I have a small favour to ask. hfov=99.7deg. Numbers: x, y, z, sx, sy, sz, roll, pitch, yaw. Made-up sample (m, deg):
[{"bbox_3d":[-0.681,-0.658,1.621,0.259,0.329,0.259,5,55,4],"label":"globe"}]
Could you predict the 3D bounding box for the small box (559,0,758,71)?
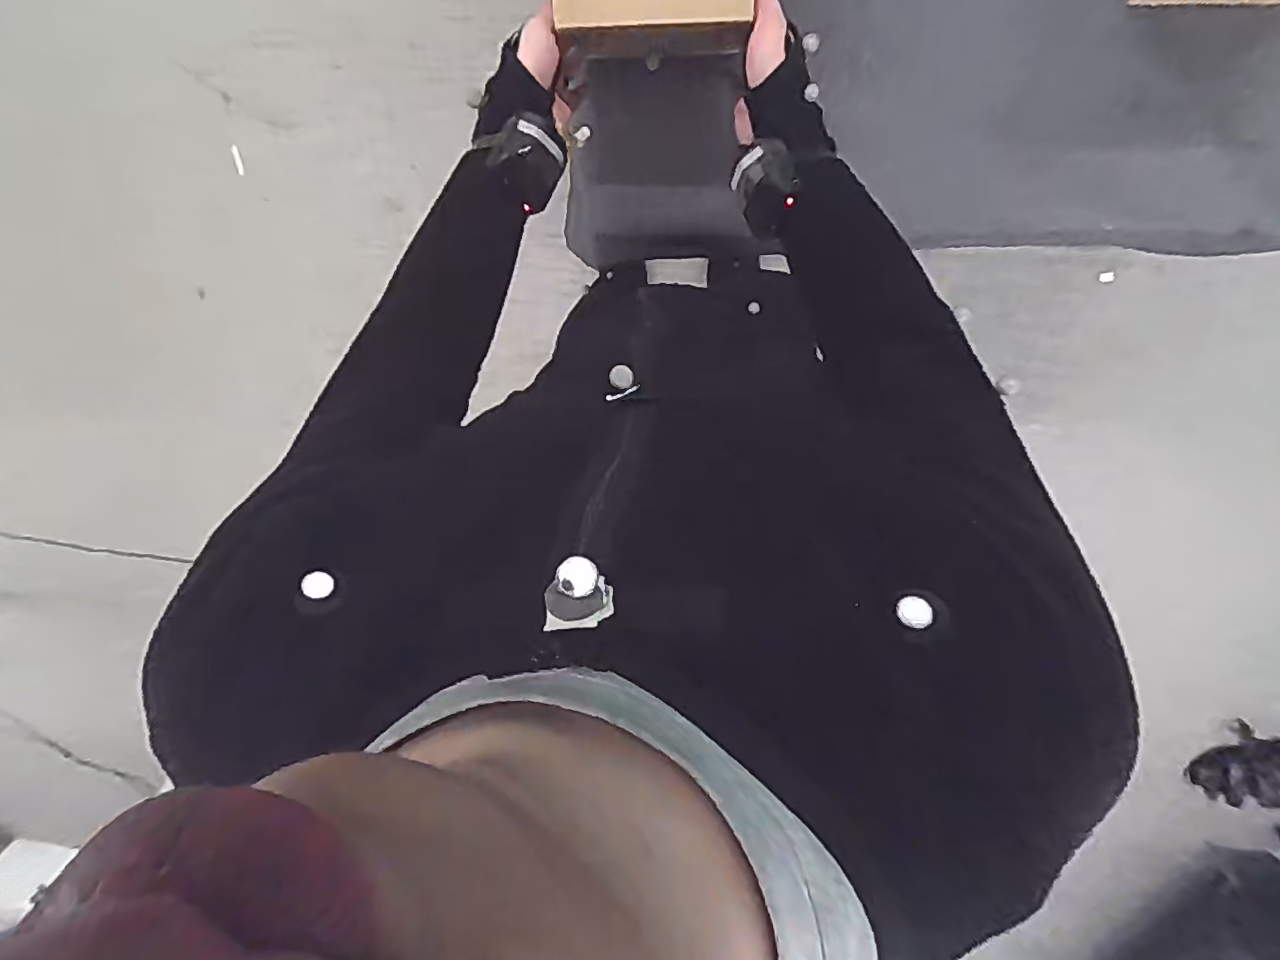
[{"bbox_3d":[0.018,-0.484,0.478,0.168,0.176,0.179,1,122,5],"label":"small box"}]
